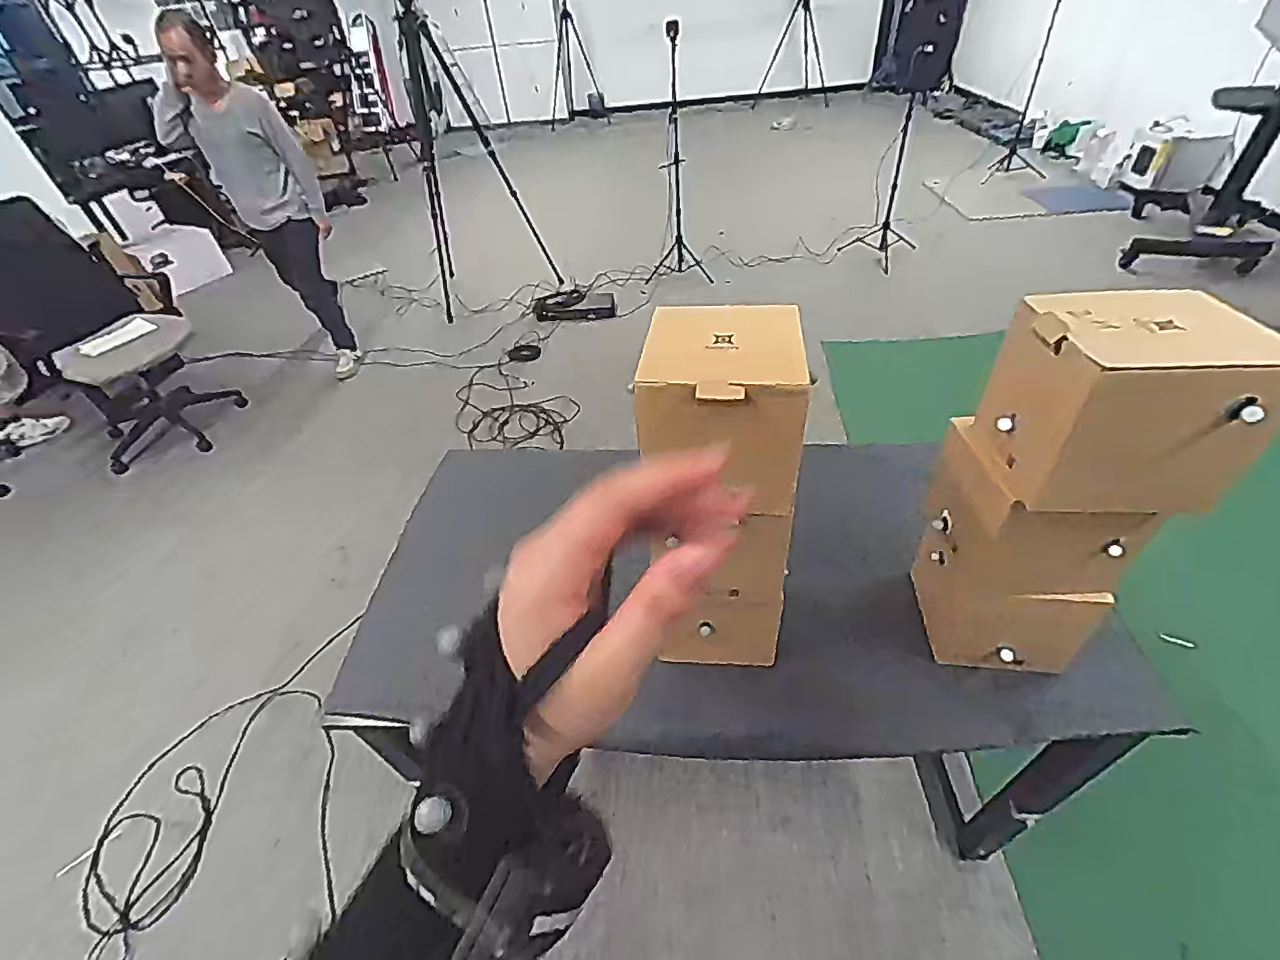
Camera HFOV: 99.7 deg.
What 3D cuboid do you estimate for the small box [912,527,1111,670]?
[{"bbox_3d":[0.512,0.147,0.783,0.168,0.176,0.179,2,42,10],"label":"small box"}]

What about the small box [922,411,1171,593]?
[{"bbox_3d":[0.487,0.025,0.679,0.179,0.176,0.168,-4,39,5],"label":"small box"}]

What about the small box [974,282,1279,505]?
[{"bbox_3d":[0.484,-0.087,0.554,0.179,0.176,0.168,0,39,8],"label":"small box"}]

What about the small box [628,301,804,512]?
[{"bbox_3d":[0.085,-0.087,0.611,0.168,0.176,0.179,2,42,9],"label":"small box"}]

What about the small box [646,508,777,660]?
[{"bbox_3d":[0.110,0.159,0.826,0.179,0.176,0.168,-1,42,8],"label":"small box"}]
